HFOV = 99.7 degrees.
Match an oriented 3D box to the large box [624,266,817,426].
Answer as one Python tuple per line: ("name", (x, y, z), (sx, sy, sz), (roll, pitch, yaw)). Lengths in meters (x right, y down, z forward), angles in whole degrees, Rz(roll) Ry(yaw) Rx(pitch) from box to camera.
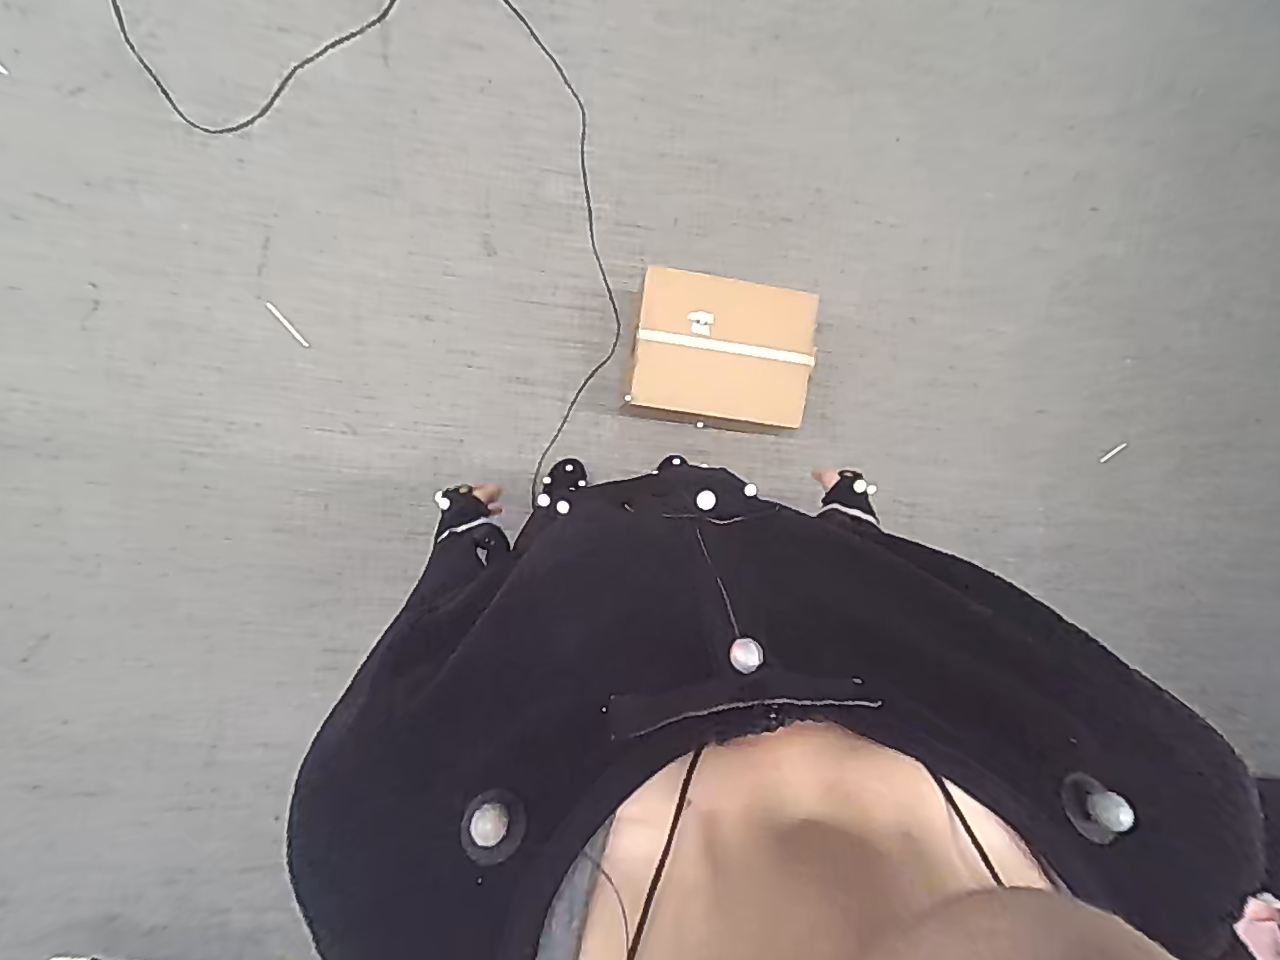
("large box", (0.182, -0.313, 1.371), (0.408, 0.320, 0.320), (7, 92, -5))
